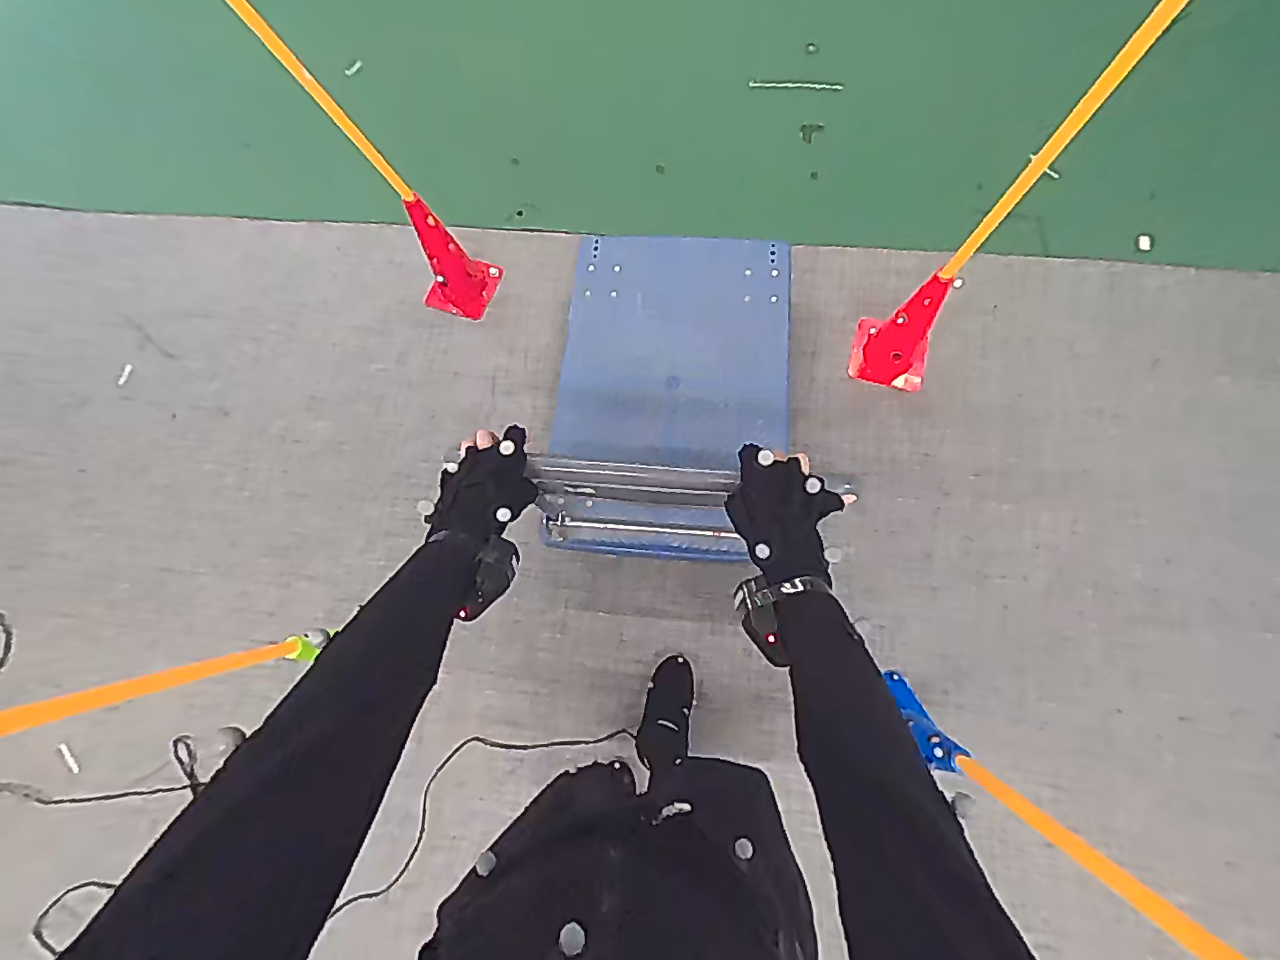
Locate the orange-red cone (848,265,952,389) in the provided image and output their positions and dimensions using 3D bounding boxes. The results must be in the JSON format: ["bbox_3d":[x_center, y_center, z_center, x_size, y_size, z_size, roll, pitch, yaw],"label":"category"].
[{"bbox_3d":[0.689,-0.410,1.364,0.198,0.360,0.199,16,76,9],"label":"orange-red cone"}]
